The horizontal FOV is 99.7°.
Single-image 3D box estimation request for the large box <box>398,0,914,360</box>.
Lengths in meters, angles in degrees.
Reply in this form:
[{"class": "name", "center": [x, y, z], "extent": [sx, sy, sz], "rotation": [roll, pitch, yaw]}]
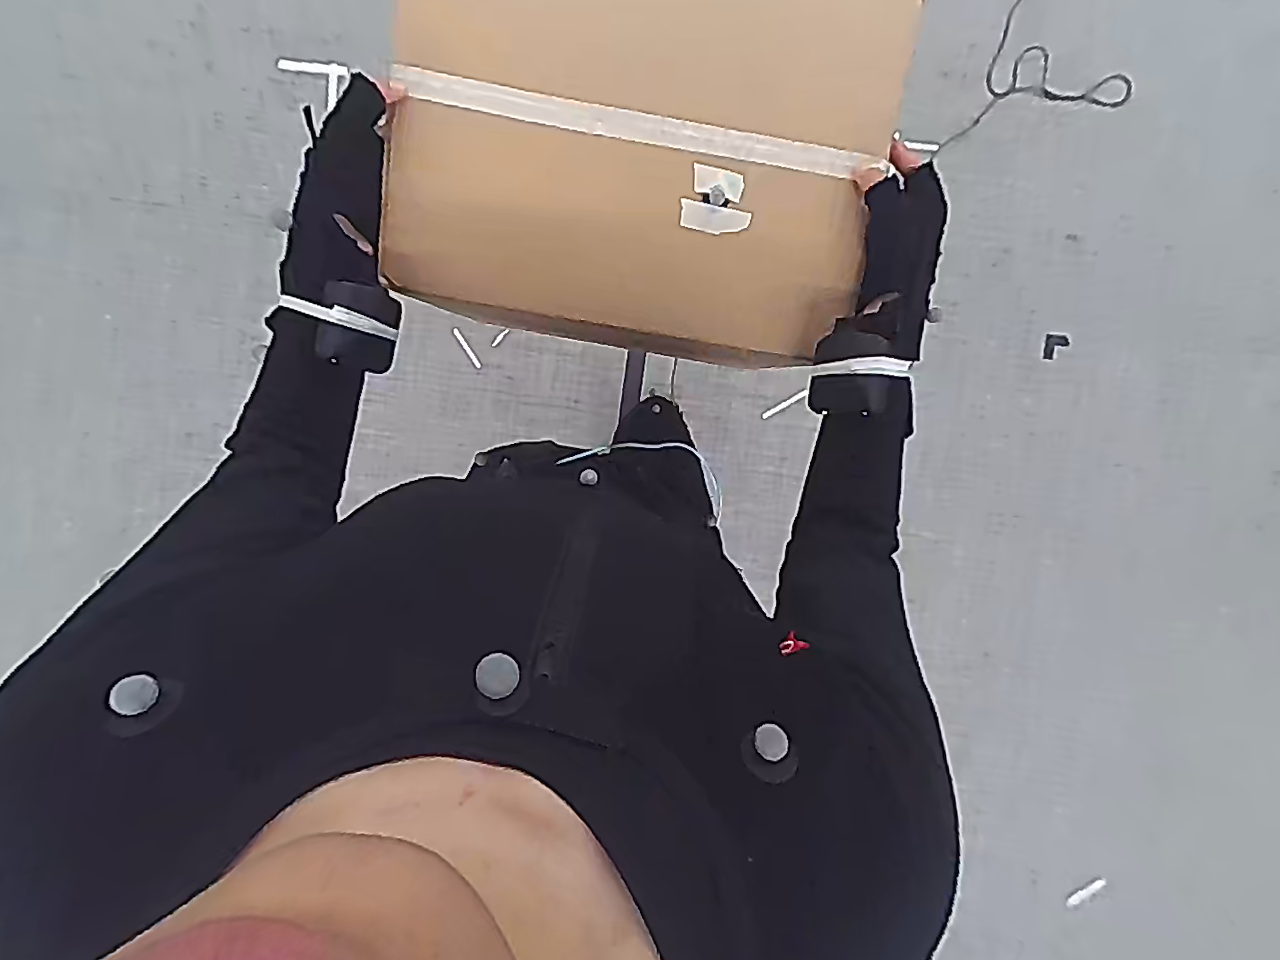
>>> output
[{"class": "large box", "center": [-0.001, -0.316, 0.593], "extent": [0.408, 0.320, 0.320], "rotation": [8, 102, -5]}]
